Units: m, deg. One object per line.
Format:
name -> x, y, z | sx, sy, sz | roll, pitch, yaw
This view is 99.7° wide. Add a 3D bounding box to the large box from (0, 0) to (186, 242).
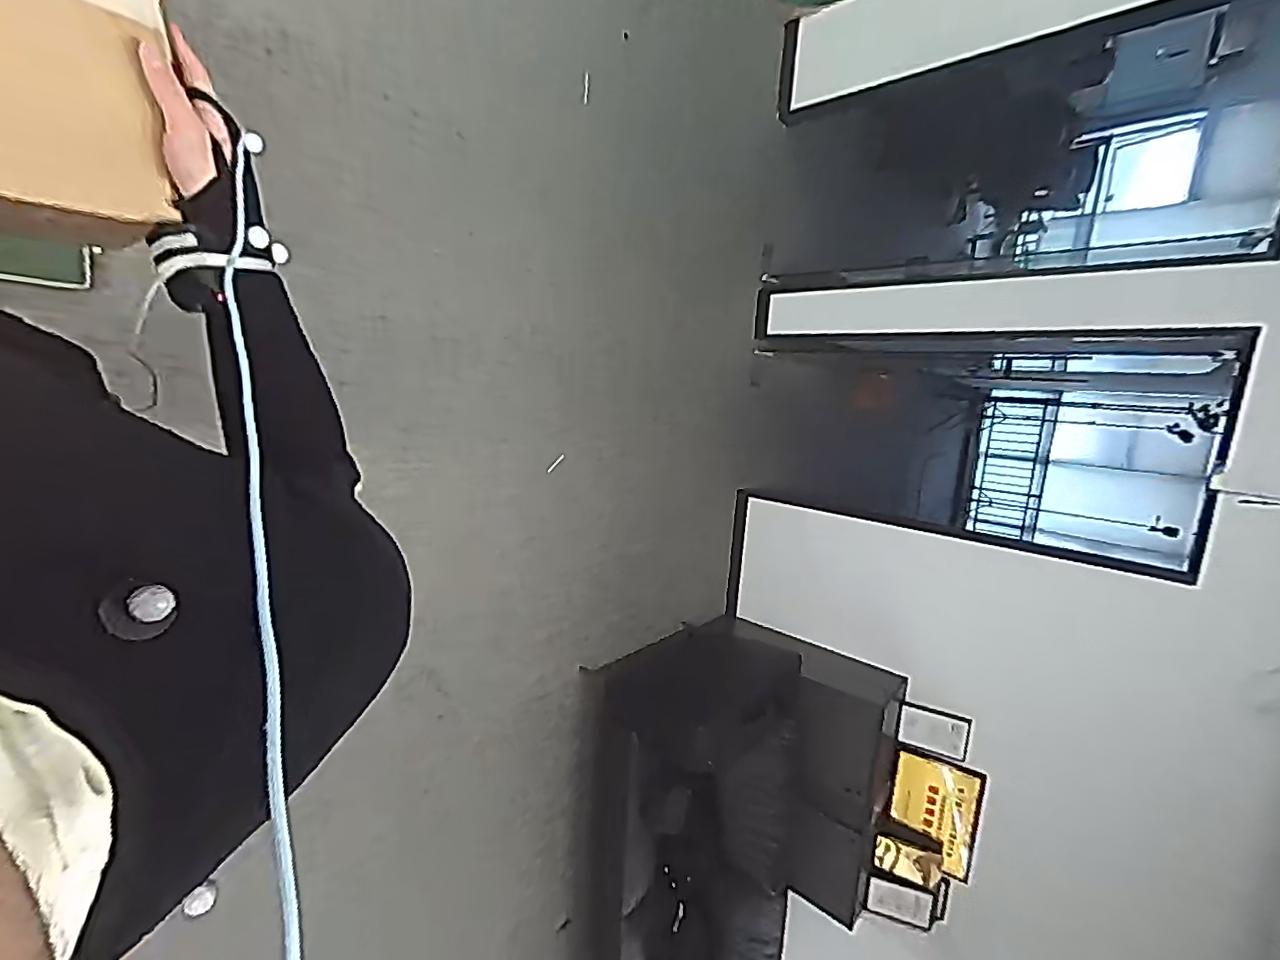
large box -> -0.632, -0.381, 0.382 | 0.408, 0.320, 0.320 | -11, 110, -50
